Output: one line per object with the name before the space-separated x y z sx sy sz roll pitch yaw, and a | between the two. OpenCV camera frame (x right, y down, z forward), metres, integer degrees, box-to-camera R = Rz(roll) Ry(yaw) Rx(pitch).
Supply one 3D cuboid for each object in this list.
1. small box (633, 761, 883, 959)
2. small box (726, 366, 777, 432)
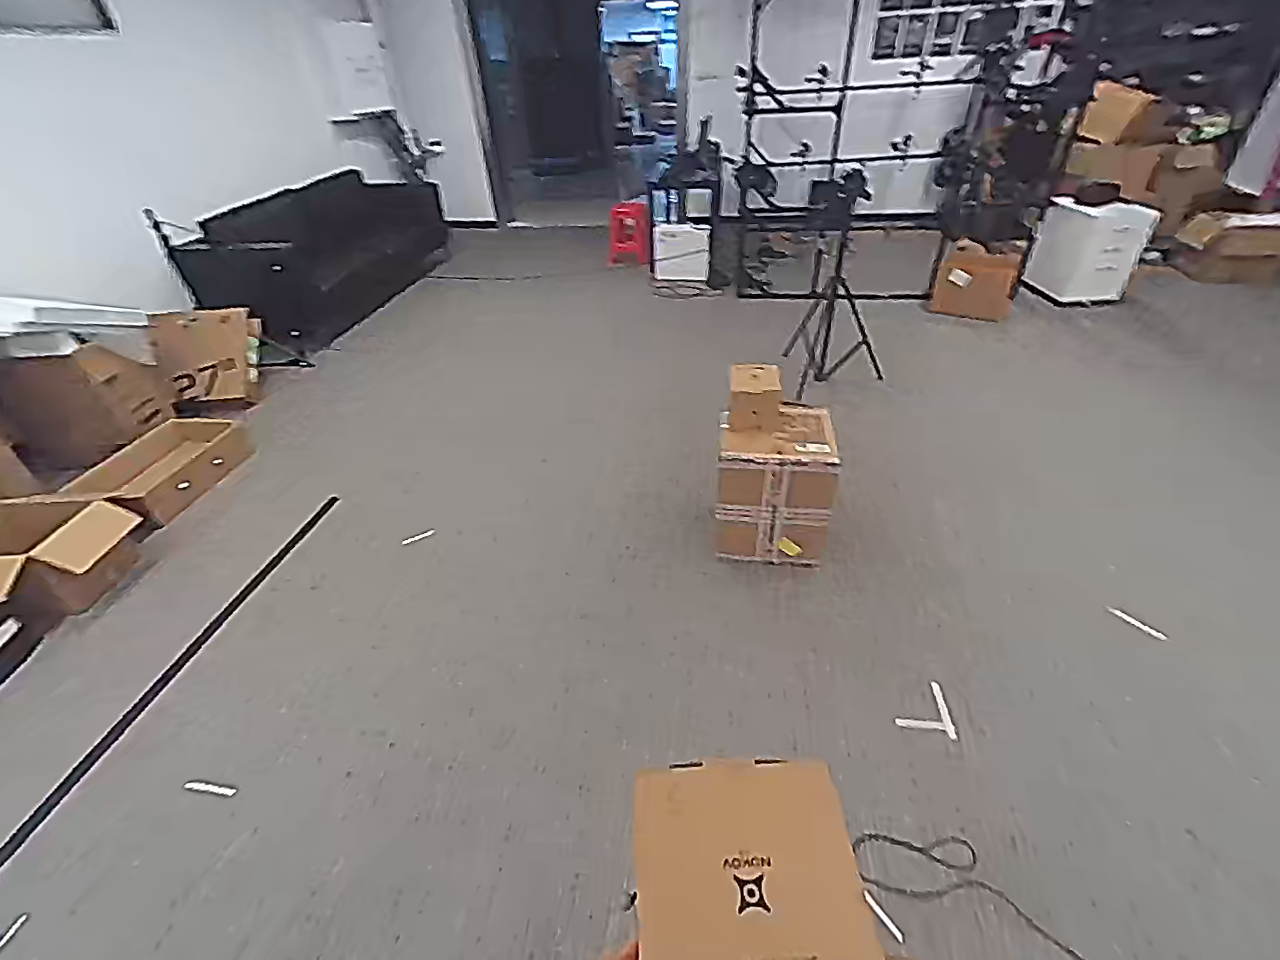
small box | 0.078 0.356 0.442 0.168 0.176 0.179 0 40 -2
small box | 0.389 -0.280 1.891 0.168 0.176 0.179 2 42 8
